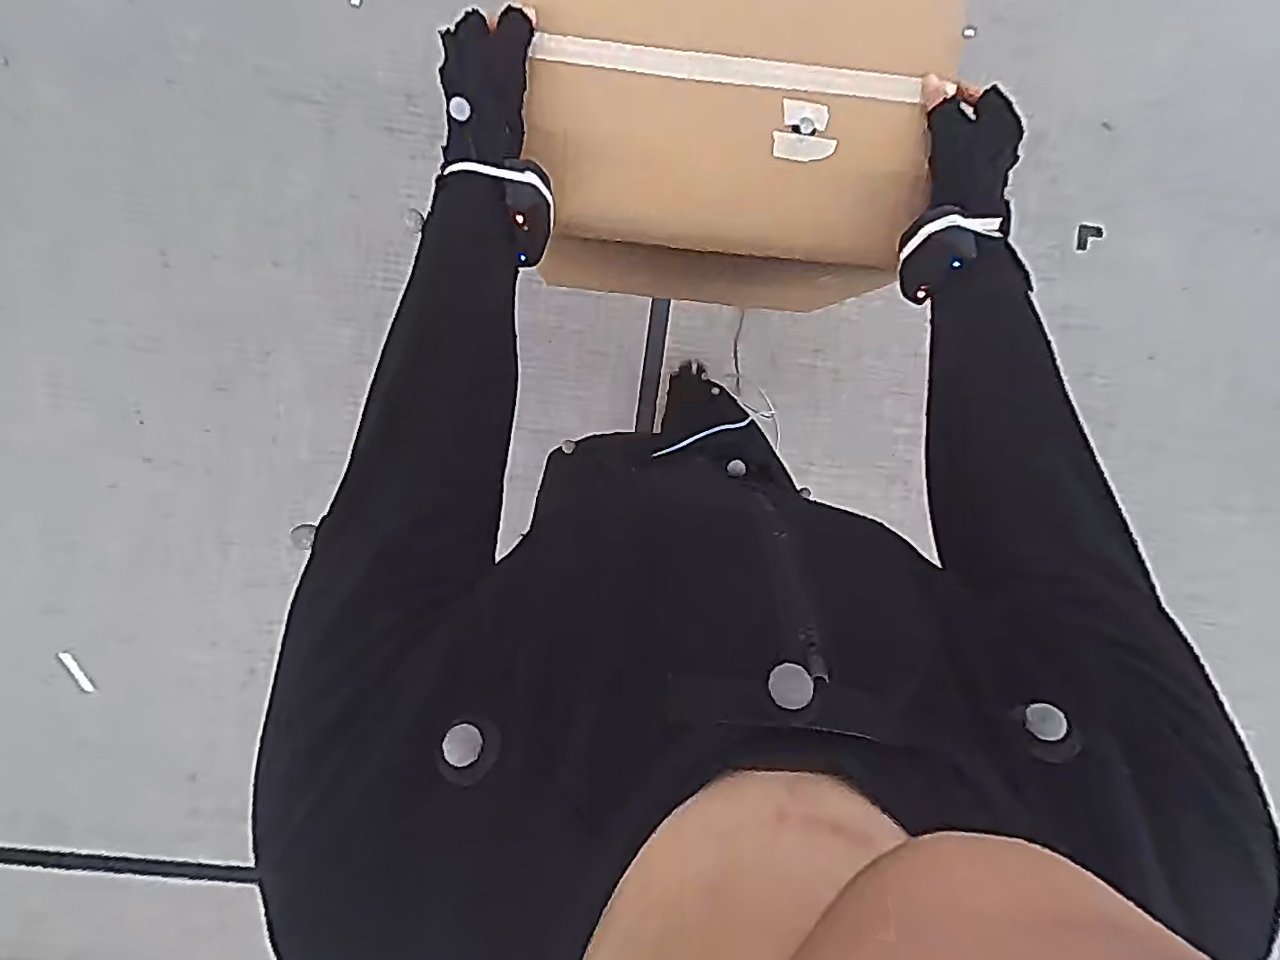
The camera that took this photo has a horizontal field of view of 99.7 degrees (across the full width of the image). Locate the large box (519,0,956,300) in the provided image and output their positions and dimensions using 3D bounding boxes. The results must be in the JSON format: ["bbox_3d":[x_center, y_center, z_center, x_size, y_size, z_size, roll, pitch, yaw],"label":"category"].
[{"bbox_3d":[0.081,-0.410,0.649,0.408,0.320,0.320,4,101,-4],"label":"large box"}]
